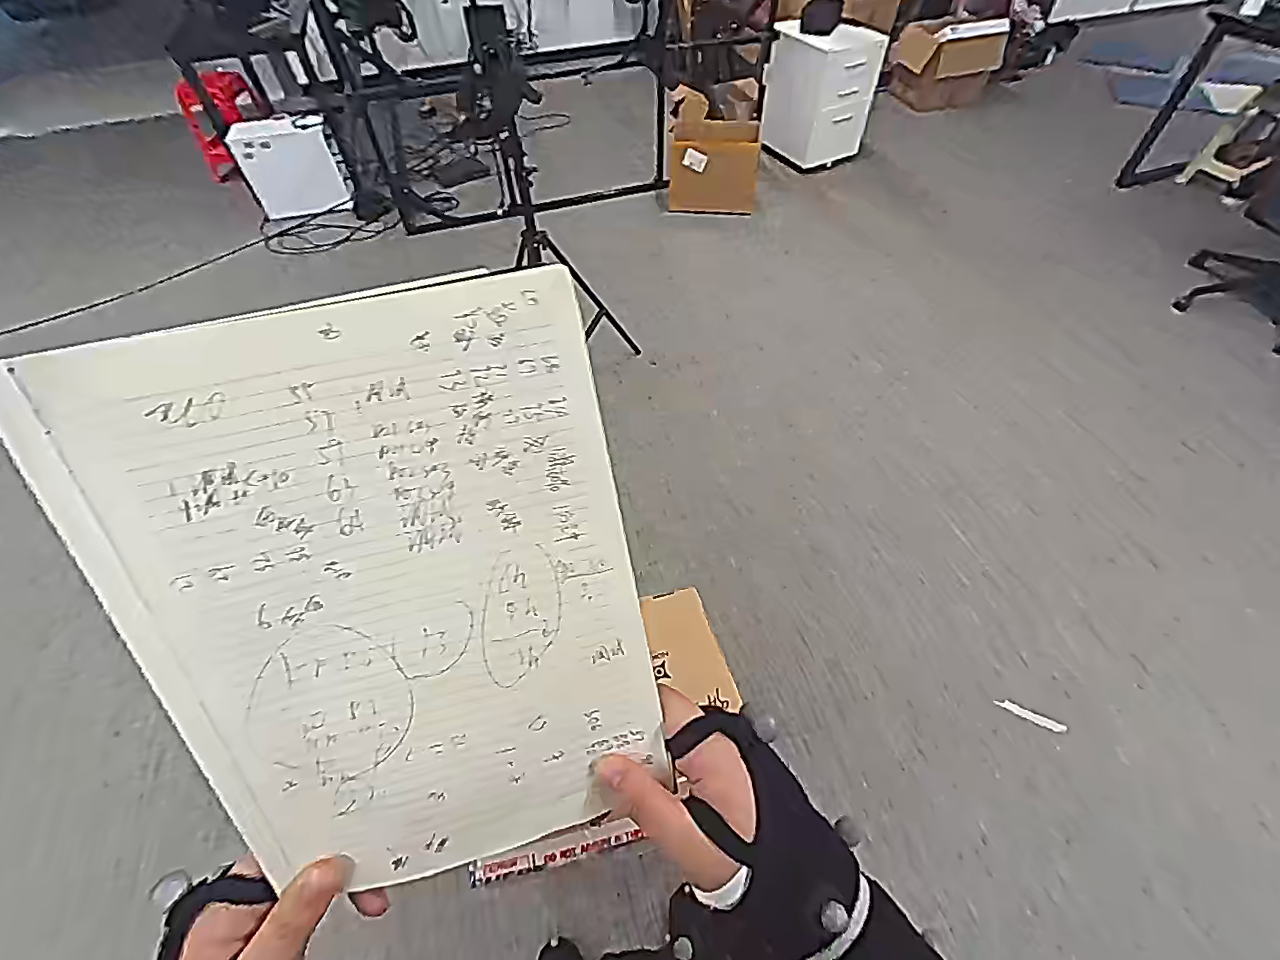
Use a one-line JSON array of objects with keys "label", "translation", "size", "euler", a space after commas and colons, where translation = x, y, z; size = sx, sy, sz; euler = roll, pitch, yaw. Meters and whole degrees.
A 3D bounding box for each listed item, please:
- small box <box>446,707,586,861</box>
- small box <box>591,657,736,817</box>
[{"label": "small box", "translation": [-0.179, 0.460, 0.818], "size": [0.179, 0.176, 0.168], "euler": [-10, 55, -4]}, {"label": "small box", "translation": [0.029, 0.408, 0.854], "size": [0.179, 0.176, 0.168], "euler": [-15, 55, -12]}]
